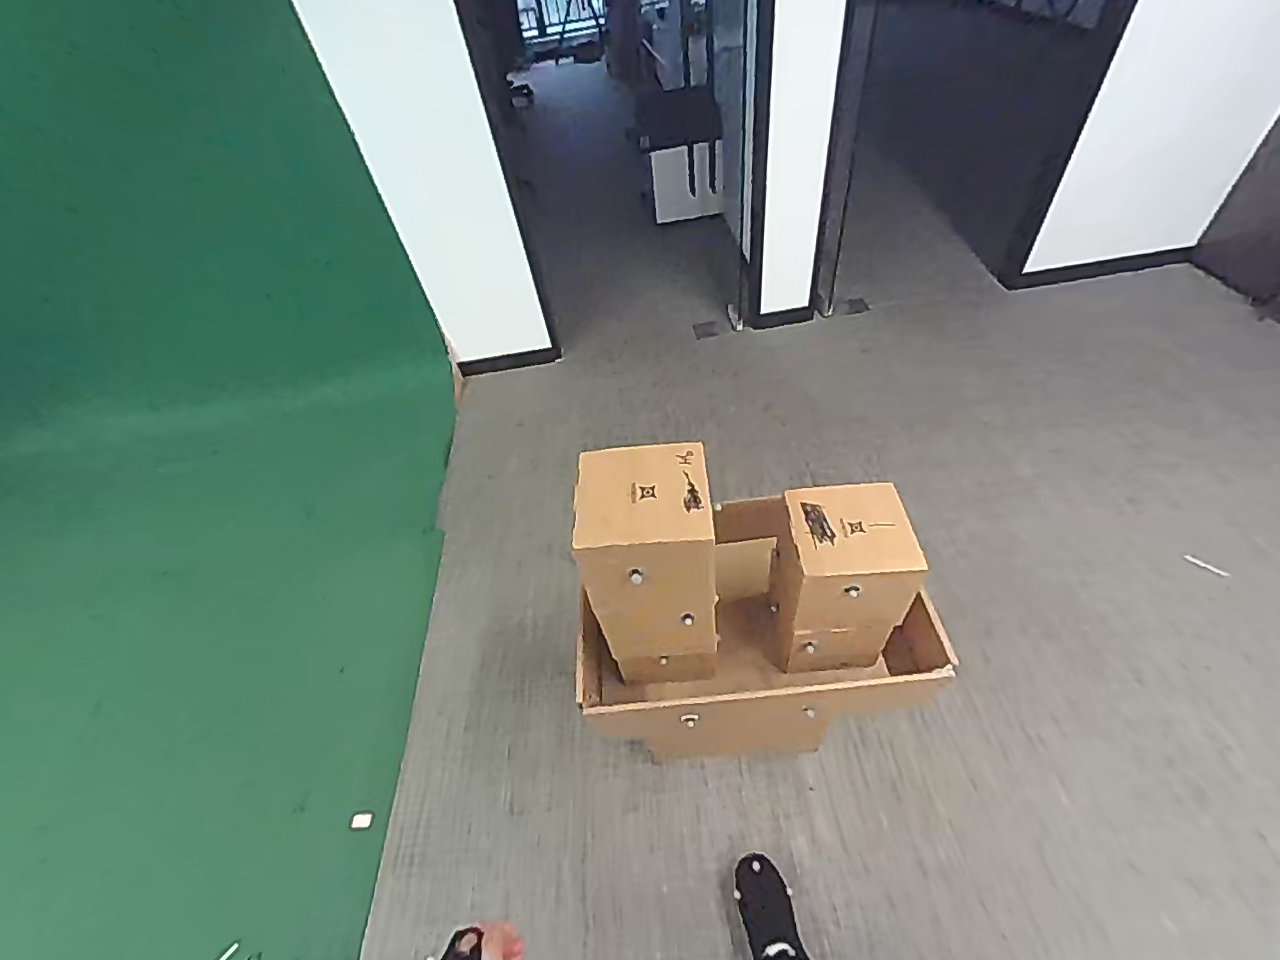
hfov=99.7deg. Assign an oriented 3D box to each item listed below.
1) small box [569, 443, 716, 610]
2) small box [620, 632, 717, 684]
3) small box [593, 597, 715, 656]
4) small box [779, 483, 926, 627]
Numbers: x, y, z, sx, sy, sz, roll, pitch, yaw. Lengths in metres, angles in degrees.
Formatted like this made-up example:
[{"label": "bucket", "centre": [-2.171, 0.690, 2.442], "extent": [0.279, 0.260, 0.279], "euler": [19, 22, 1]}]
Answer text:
[{"label": "small box", "centre": [0.010, 0.070, 0.757], "extent": [0.179, 0.176, 0.168], "euler": [-5, 49, 5]}, {"label": "small box", "centre": [0.048, 0.270, 1.013], "extent": [0.179, 0.176, 0.168], "euler": [-5, 49, 4]}, {"label": "small box", "centre": [0.027, 0.175, 0.882], "extent": [0.179, 0.176, 0.168], "euler": [-5, 49, 4]}, {"label": "small box", "centre": [0.325, 0.125, 0.871], "extent": [0.179, 0.176, 0.168], "euler": [-4, 48, 5]}]
